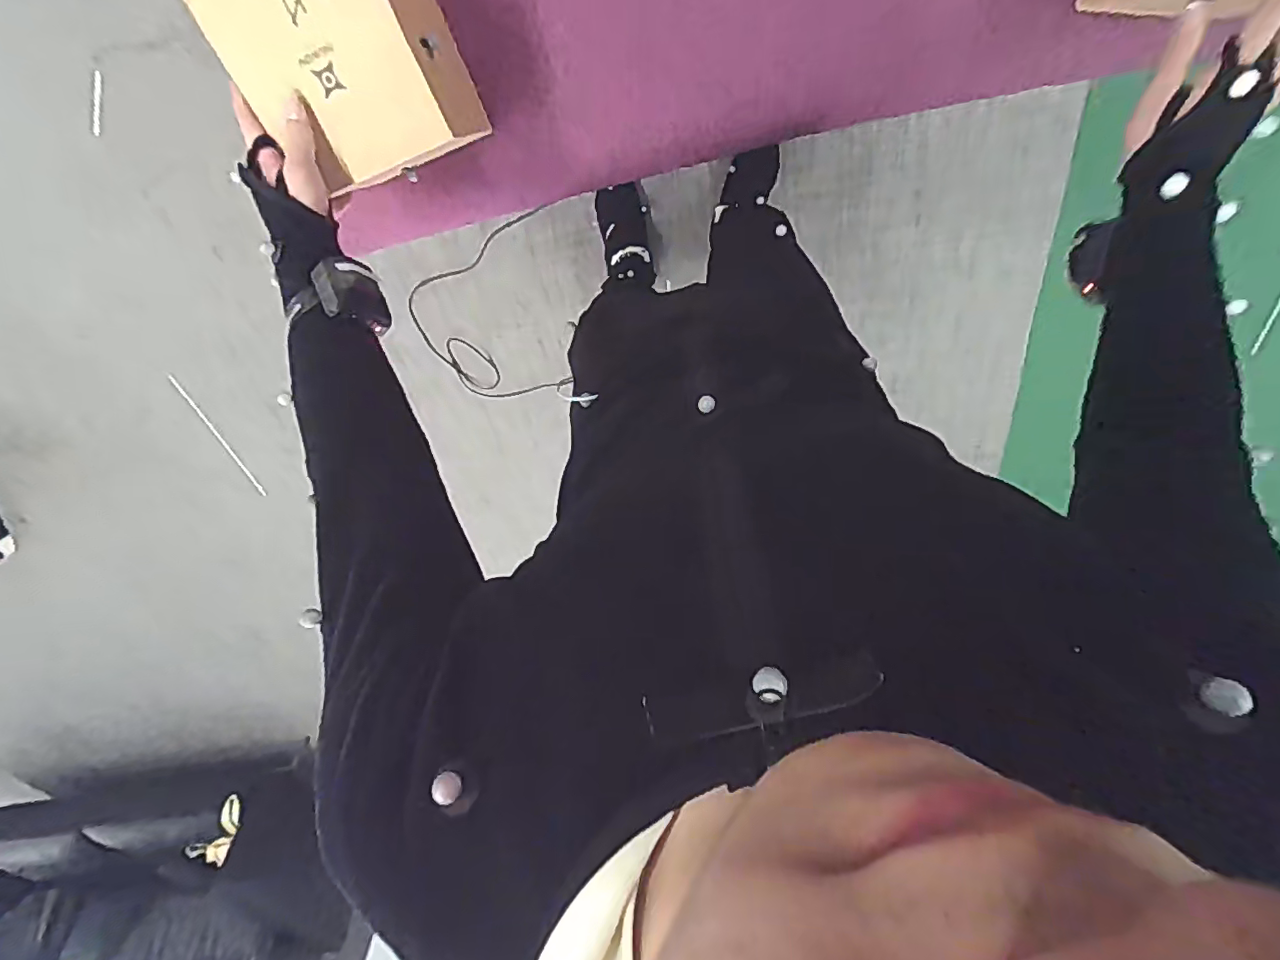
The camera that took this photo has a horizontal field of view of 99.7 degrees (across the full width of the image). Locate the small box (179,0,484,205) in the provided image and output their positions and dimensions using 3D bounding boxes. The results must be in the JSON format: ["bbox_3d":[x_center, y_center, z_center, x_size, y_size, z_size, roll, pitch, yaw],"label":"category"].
[{"bbox_3d":[-0.281,-0.409,0.543,0.168,0.176,0.179,-16,124,11],"label":"small box"}]

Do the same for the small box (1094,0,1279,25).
[{"bbox_3d":[0.545,-0.516,0.464,0.168,0.176,0.179,3,124,-1],"label":"small box"}]
